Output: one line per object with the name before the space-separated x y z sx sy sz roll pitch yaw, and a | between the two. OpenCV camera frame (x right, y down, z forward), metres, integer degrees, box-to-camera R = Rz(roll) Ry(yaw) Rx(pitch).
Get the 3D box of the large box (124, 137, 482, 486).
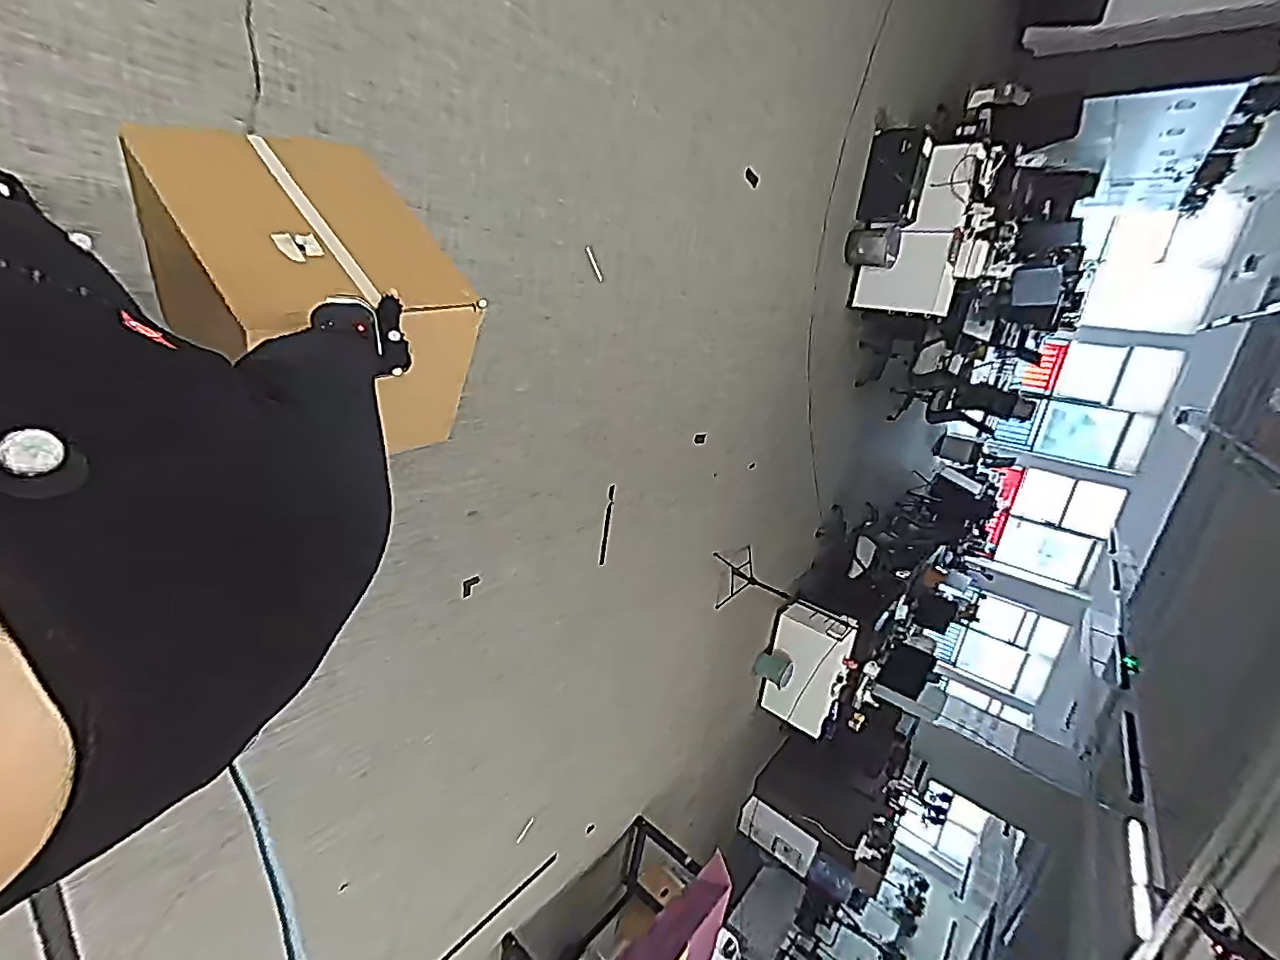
large box | -0.530 -0.268 0.874 0.320 0.408 0.320 -26 161 -43
